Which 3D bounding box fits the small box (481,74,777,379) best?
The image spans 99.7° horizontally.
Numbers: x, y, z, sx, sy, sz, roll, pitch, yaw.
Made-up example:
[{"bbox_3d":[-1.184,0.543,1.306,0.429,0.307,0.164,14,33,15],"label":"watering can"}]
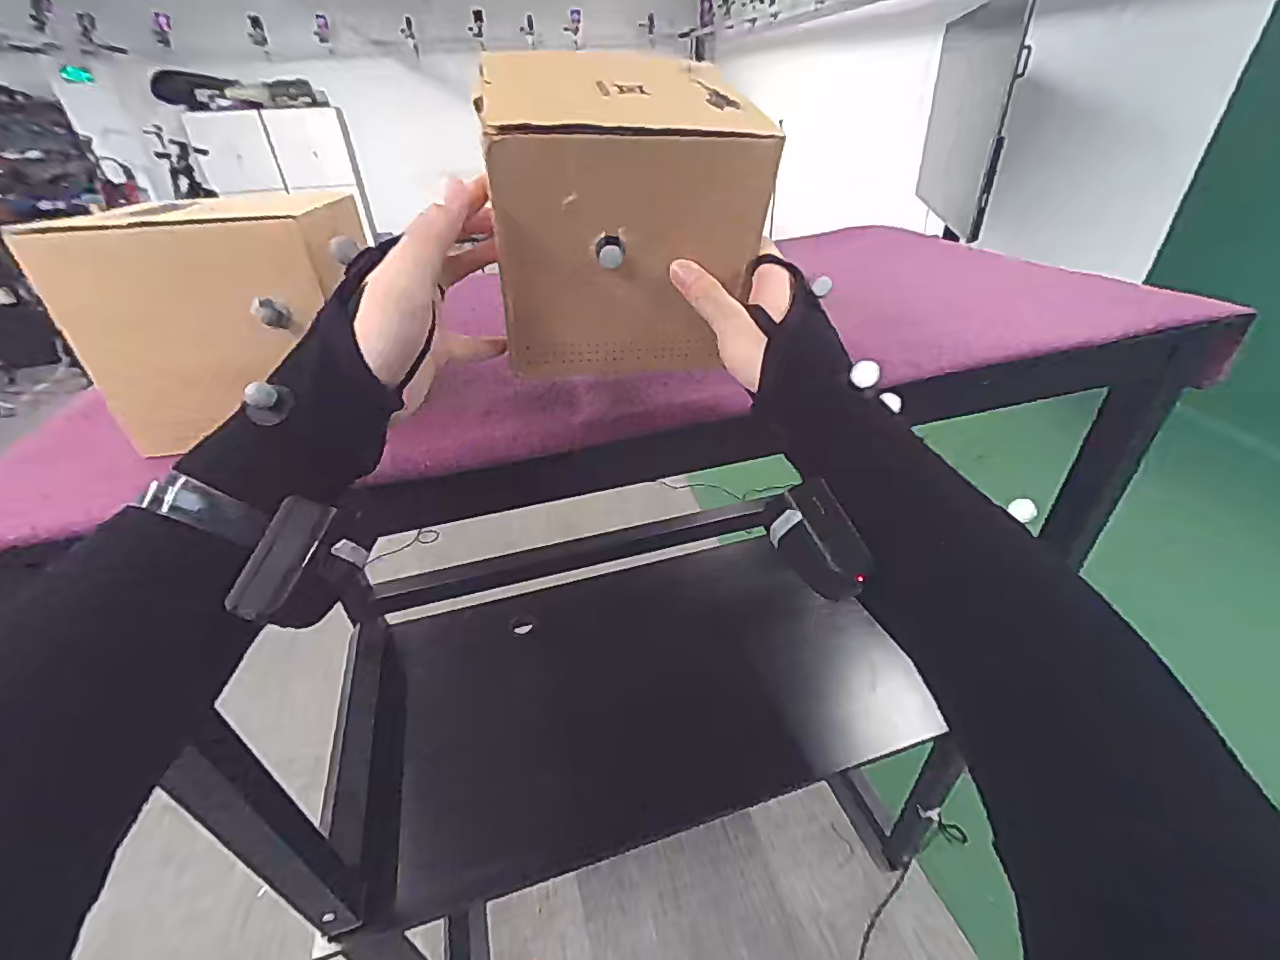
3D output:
[{"bbox_3d":[-0.020,-0.193,0.418,0.179,0.176,0.168,-6,49,-10],"label":"small box"}]
